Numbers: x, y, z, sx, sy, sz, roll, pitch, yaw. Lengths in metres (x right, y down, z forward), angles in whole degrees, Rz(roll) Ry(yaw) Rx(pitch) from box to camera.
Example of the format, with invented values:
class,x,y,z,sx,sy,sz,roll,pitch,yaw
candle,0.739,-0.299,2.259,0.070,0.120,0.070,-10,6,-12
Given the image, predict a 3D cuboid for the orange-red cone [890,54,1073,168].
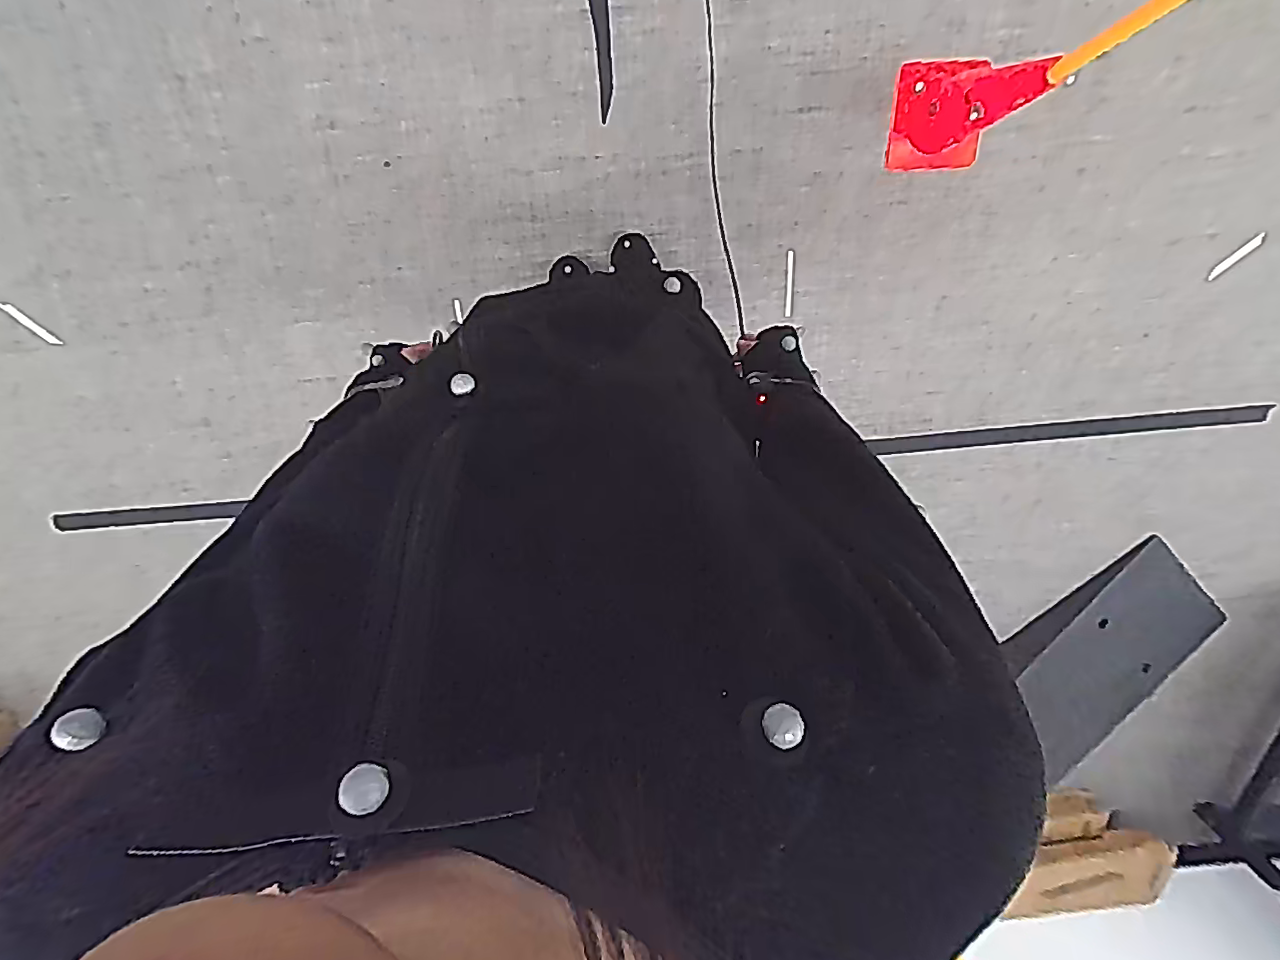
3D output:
class,x,y,z,sx,sy,sz,roll,pitch,yaw
orange-red cone,0.647,-0.707,0.994,0.198,0.360,0.199,-1,115,-1
